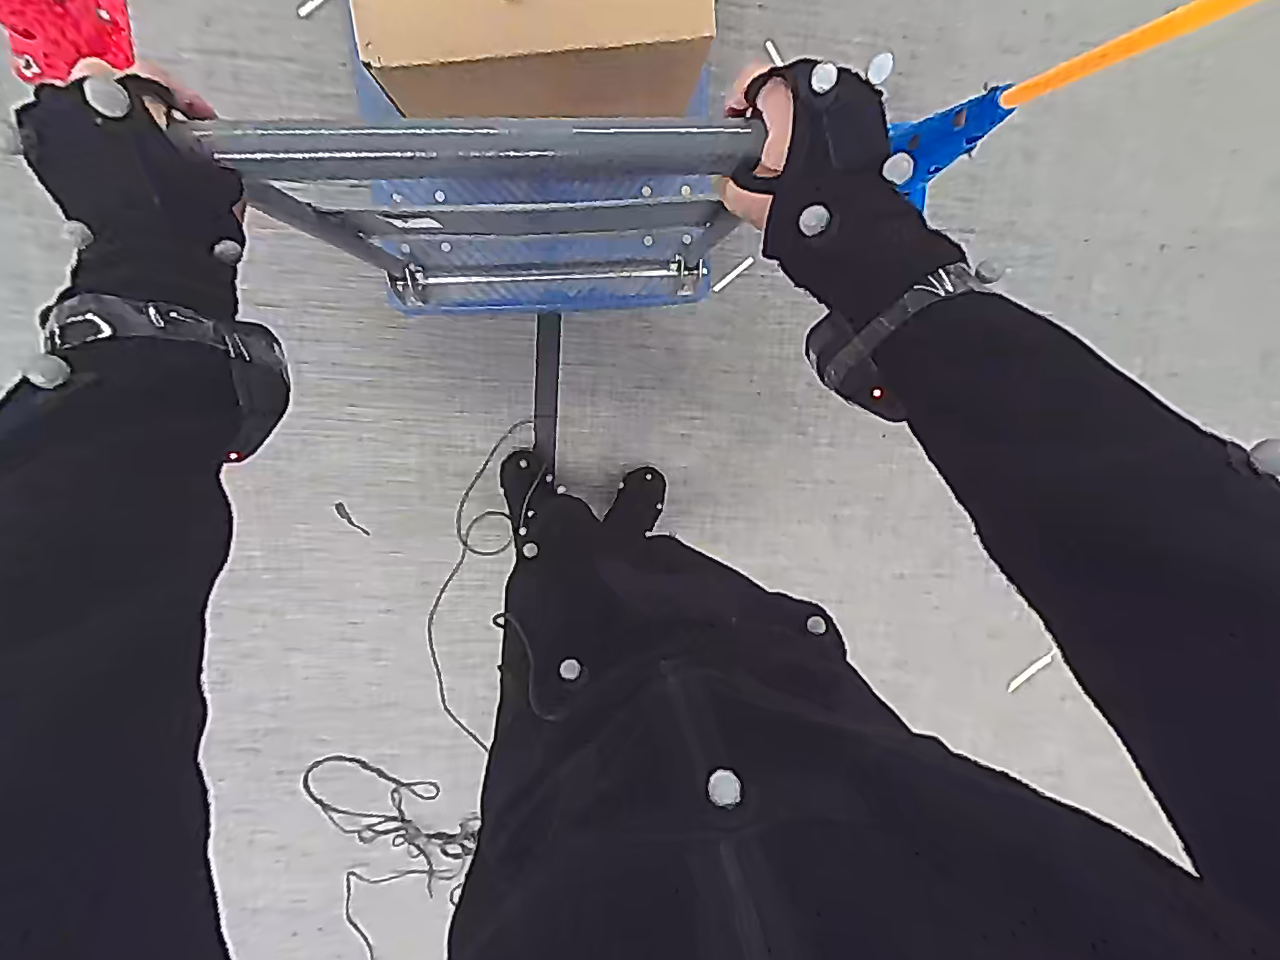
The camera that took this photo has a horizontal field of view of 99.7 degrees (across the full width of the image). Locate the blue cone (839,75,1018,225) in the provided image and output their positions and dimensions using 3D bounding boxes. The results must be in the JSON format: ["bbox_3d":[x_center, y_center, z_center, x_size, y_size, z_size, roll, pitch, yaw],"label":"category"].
[{"bbox_3d":[0.527,-0.606,0.981,0.193,0.380,0.192,-2,102,-5],"label":"blue cone"}]
